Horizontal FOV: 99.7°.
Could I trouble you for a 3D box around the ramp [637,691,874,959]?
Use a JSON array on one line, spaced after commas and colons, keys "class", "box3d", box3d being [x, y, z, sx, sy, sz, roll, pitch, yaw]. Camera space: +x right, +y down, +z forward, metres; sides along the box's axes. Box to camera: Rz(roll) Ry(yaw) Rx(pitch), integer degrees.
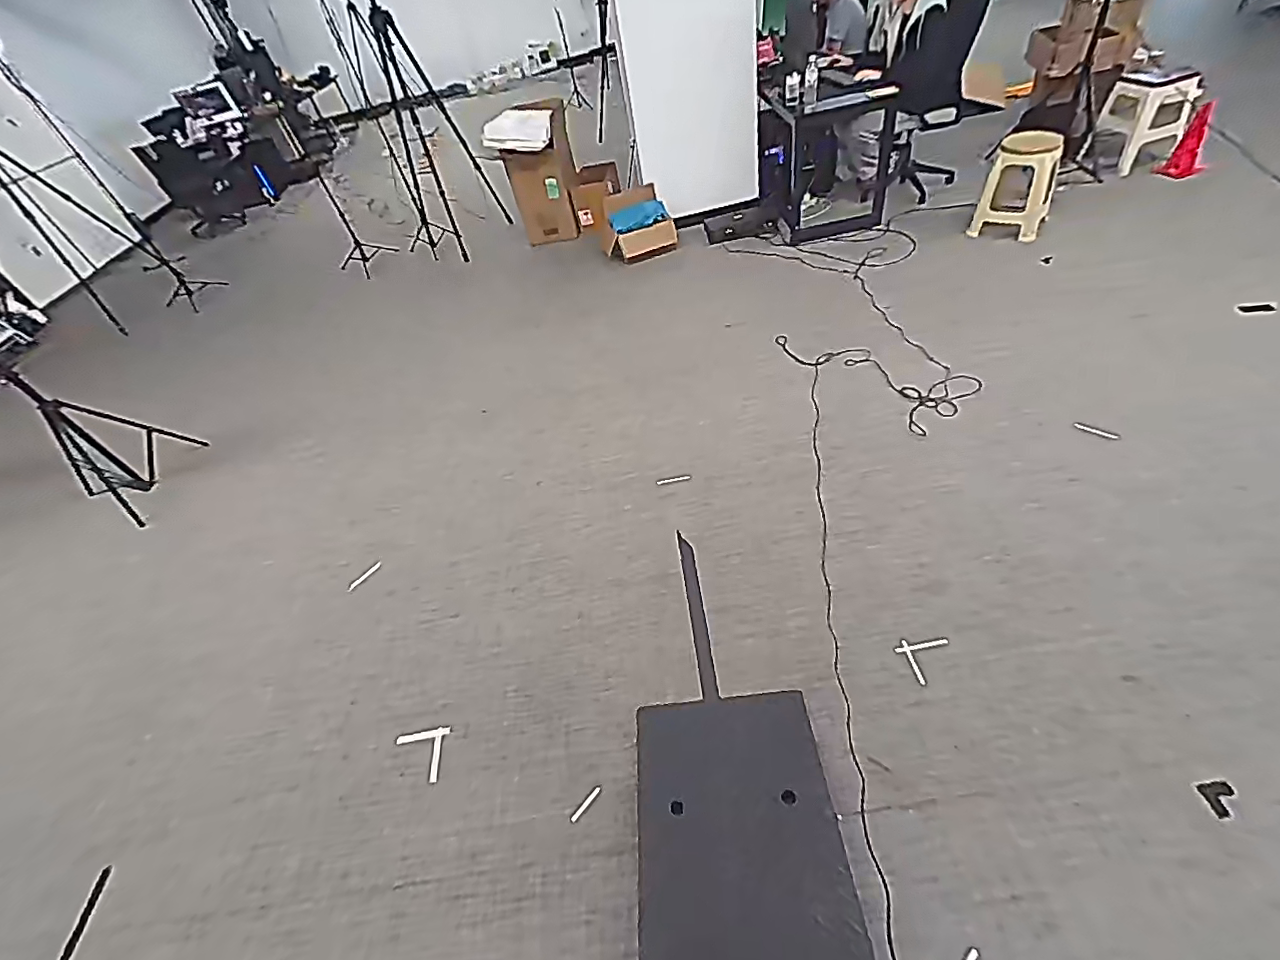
[{"class": "ramp", "box3d": [0.234, 0.949, 1.204, 0.509, 0.206, 0.991, -11, 45, 5]}]
